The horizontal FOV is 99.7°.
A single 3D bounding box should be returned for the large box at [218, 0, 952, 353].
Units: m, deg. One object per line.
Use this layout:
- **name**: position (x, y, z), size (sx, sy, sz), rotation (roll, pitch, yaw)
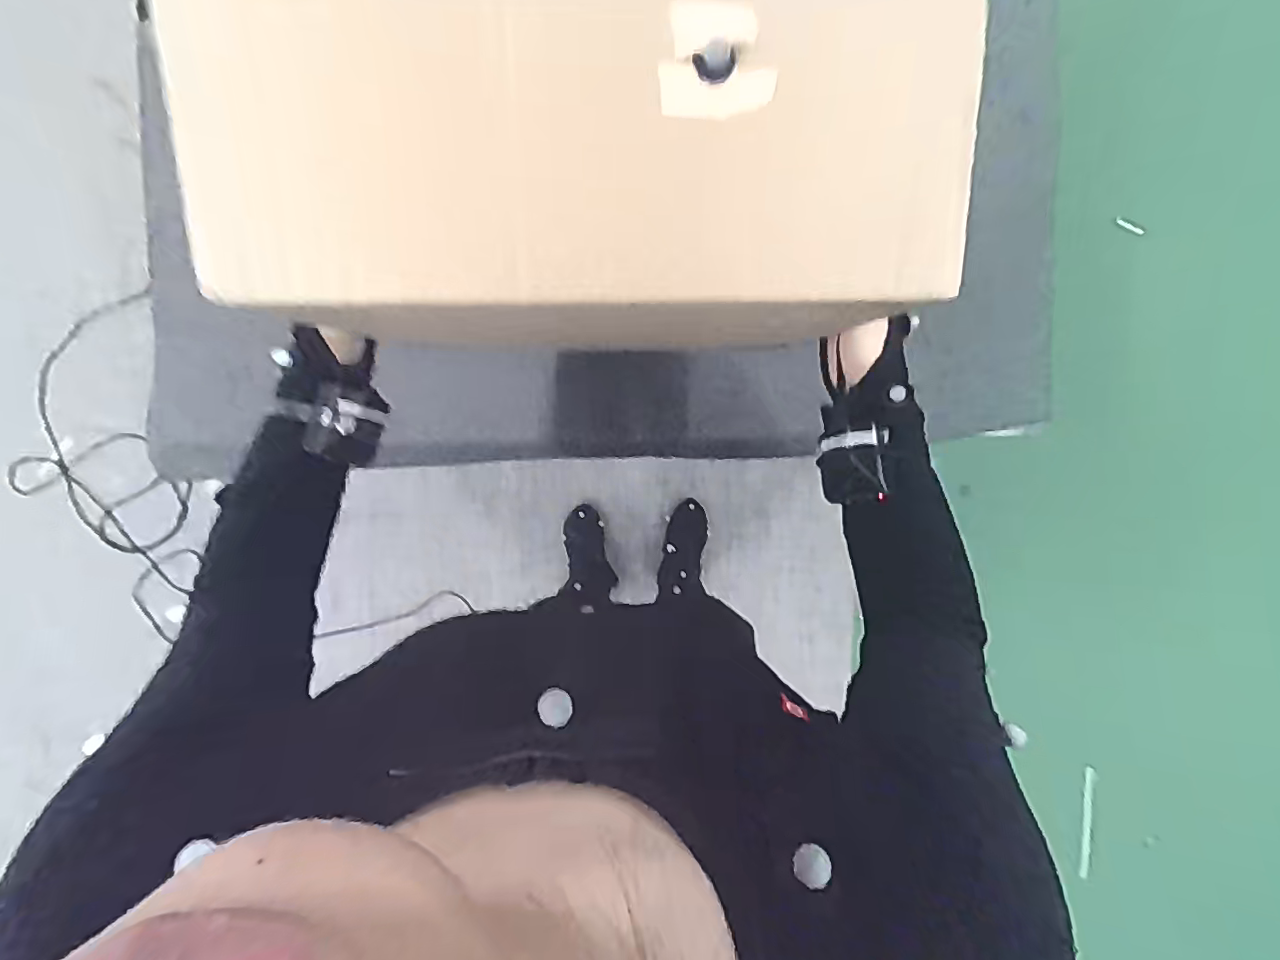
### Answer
- **large box**: position (-0.032, -0.282, 0.439), size (0.408, 0.320, 0.320), rotation (-2, 99, -2)
